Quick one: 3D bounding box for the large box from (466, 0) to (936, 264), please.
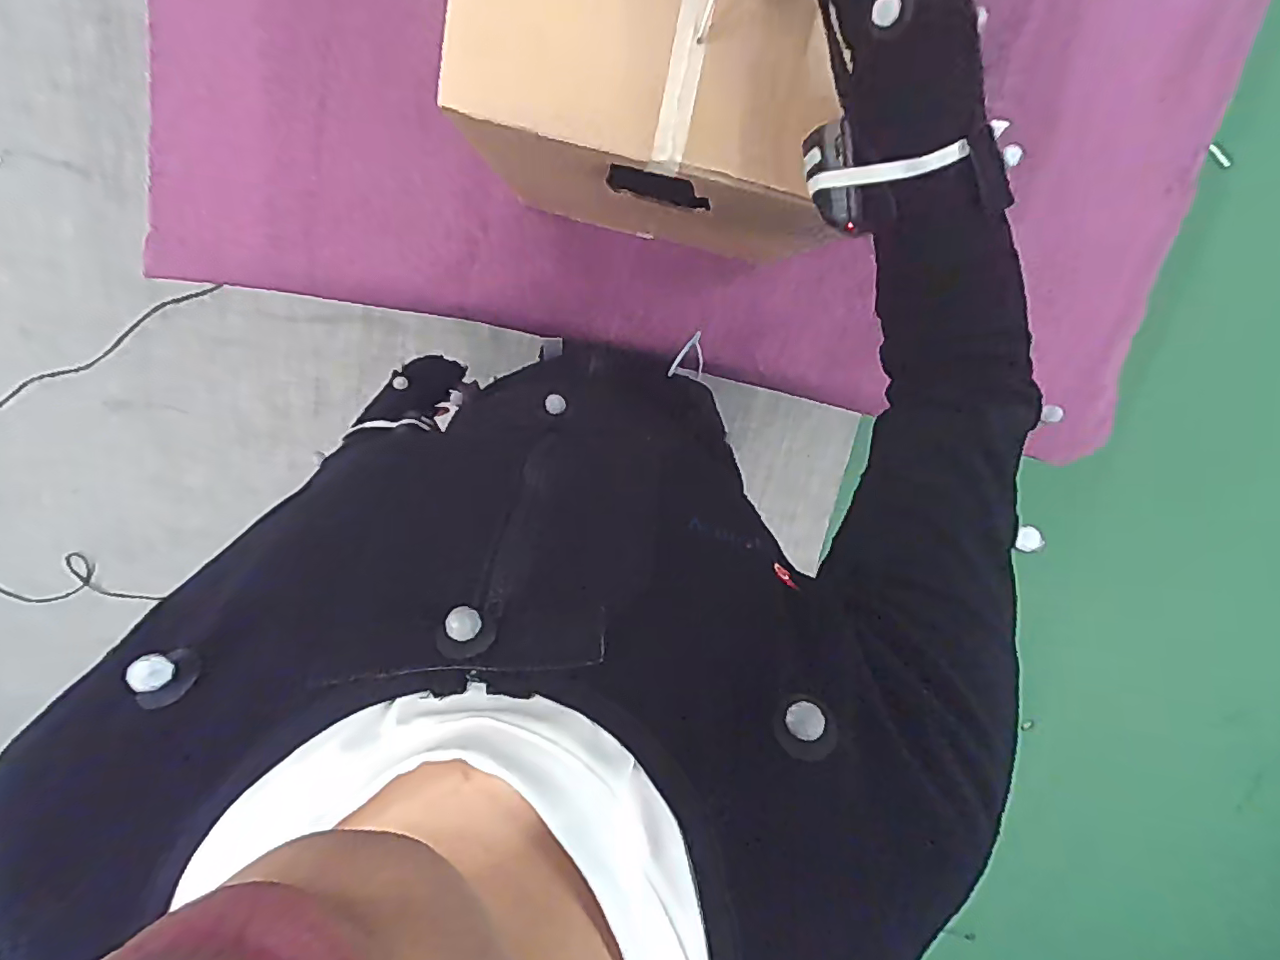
[{"bbox_3d":[0.060,-0.451,0.486,0.320,0.320,0.408,13,106,-5],"label":"large box"}]
